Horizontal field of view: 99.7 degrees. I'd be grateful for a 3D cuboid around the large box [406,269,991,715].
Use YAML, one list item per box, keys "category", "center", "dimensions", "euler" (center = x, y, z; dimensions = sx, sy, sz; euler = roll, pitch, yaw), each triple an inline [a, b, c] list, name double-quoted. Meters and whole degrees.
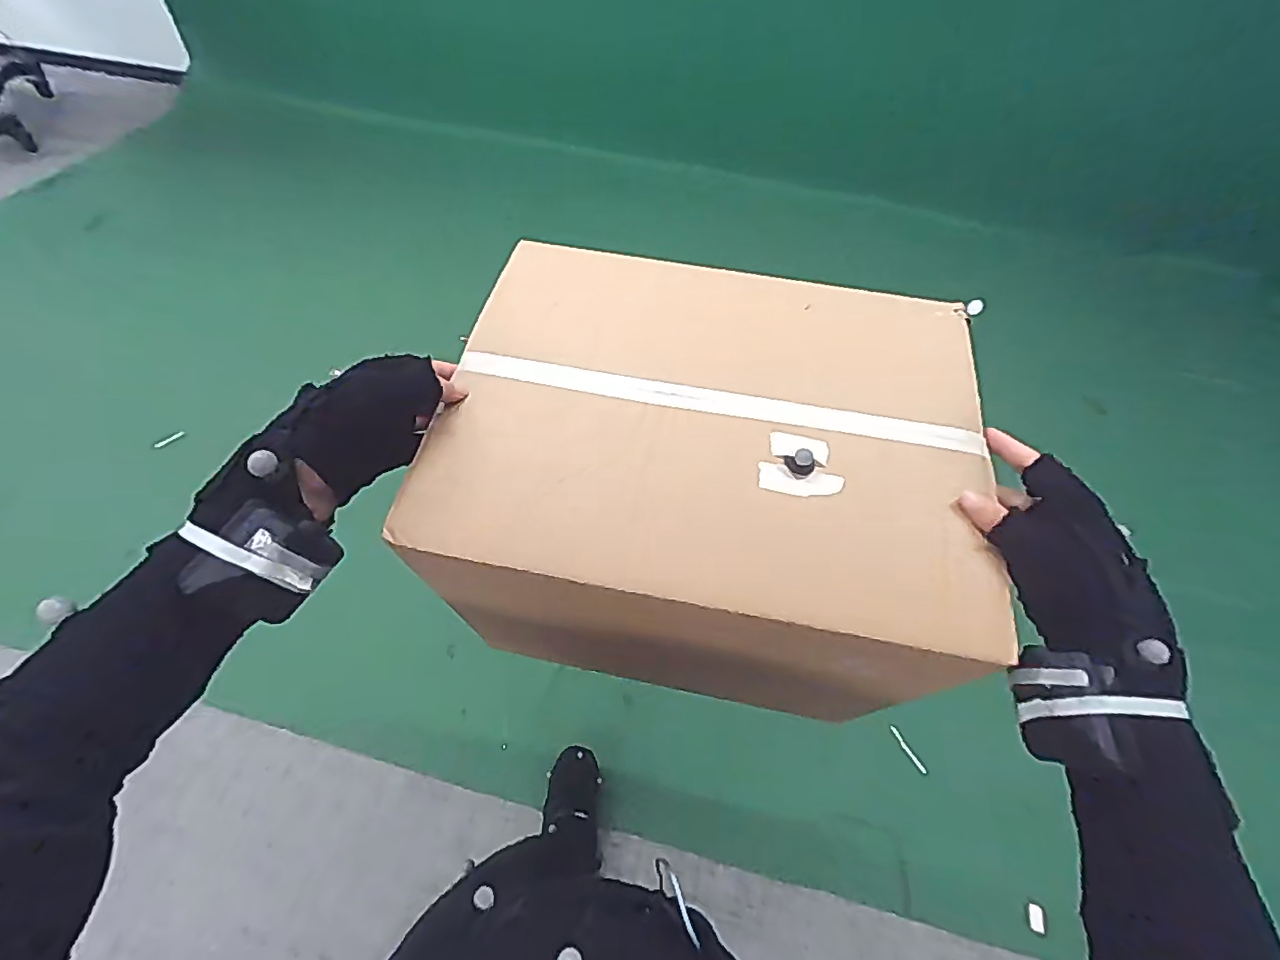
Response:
- category: "large box"
  center: [0.053, 0.027, 0.561]
  dimensions: [0.408, 0.320, 0.320]
  euler: [10, 60, 5]
